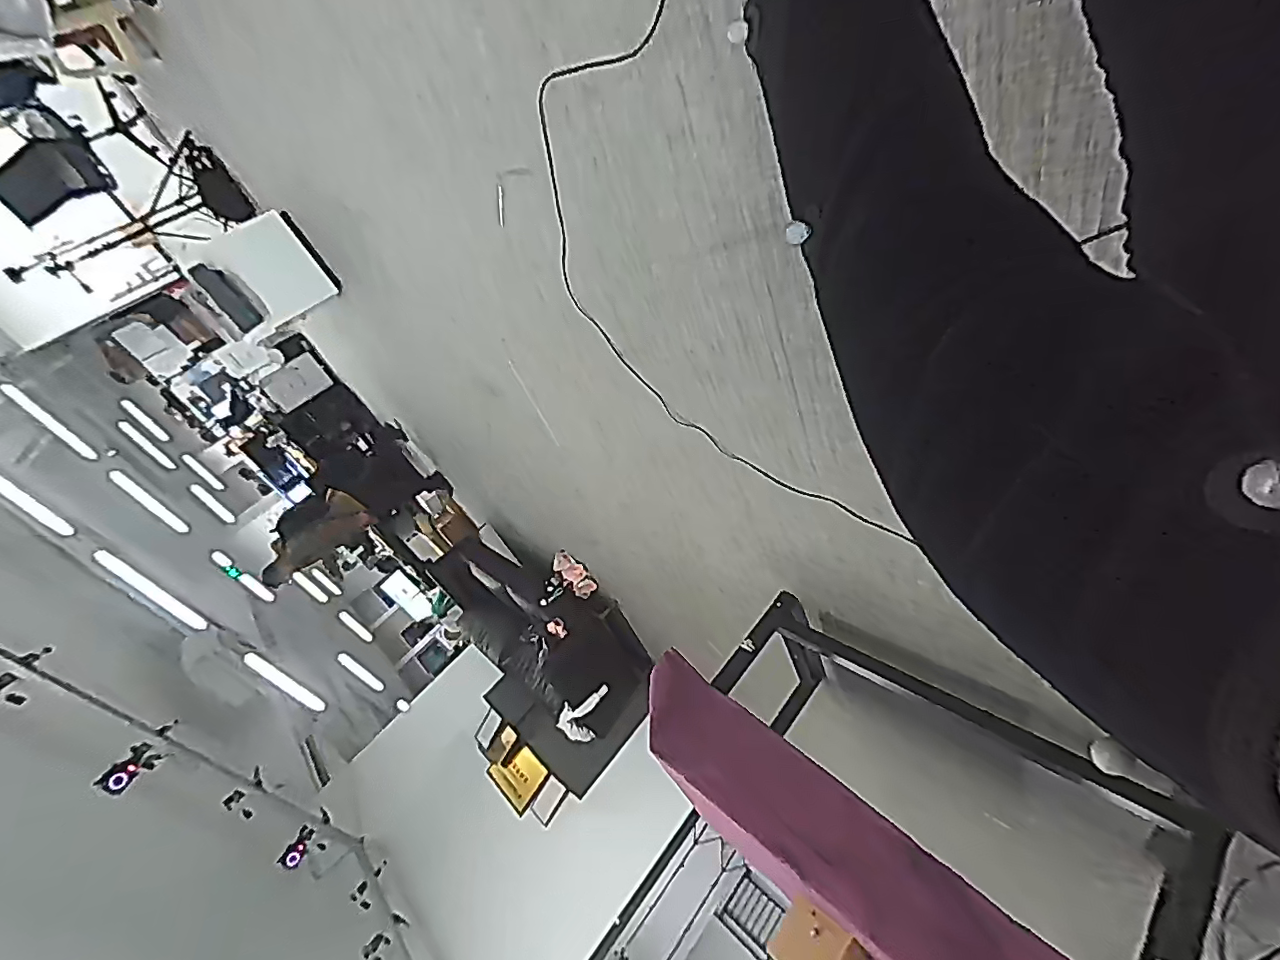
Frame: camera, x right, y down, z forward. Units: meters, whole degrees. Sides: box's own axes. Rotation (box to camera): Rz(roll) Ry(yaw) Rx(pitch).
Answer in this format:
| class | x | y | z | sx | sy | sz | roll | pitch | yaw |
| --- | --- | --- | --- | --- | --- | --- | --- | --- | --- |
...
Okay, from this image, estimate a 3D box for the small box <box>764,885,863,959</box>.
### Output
| class | x | y | z | sx | sy | sz | roll | pitch | yaw |
| --- | --- | --- | --- | --- | --- | --- | --- | --- | --- |
| small box | 0.469 | 1.245 | 1.446 | 0.168 | 0.176 | 0.179 | 12 | 139 | 52 |
